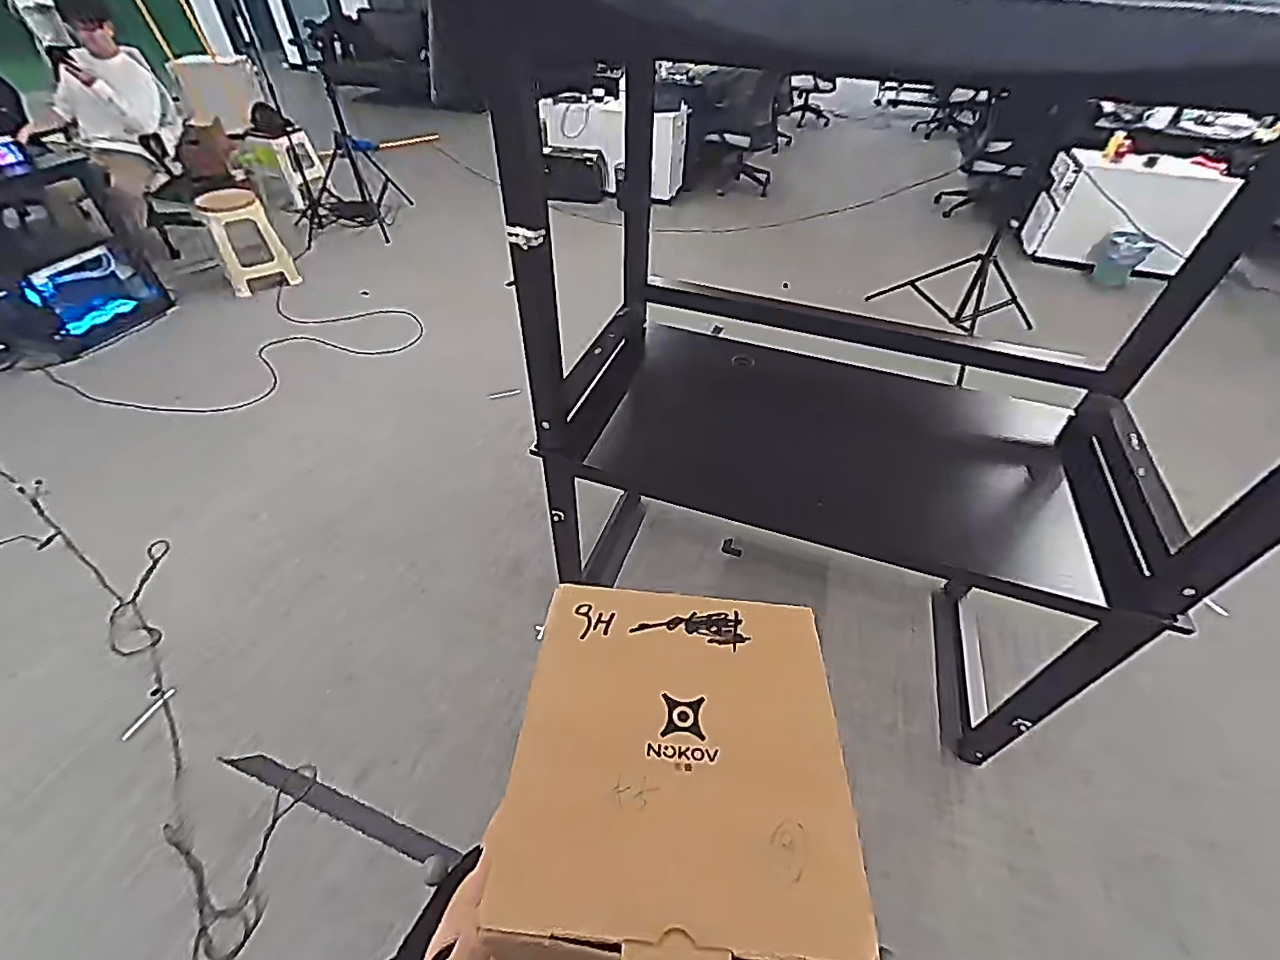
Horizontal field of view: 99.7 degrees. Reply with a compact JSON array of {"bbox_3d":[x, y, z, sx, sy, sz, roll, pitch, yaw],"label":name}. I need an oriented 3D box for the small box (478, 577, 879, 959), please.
[{"bbox_3d":[0.017,0.185,0.329,0.168,0.176,0.179,6,43,1],"label":"small box"}]
